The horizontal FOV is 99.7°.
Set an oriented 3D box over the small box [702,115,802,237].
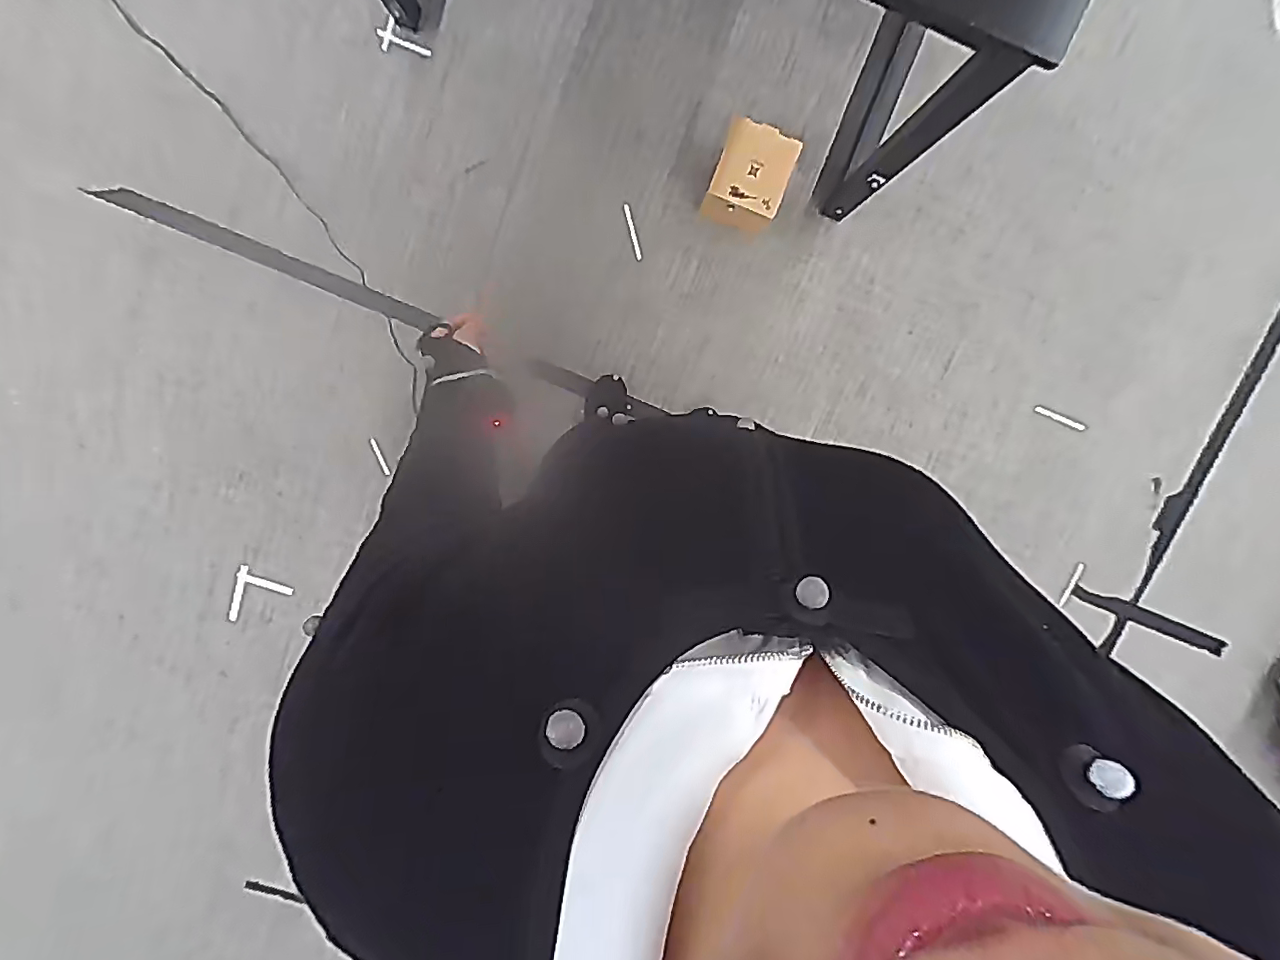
[{"bbox_3d":[0.258,-0.718,1.299,0.168,0.176,0.179,20,98,-3],"label":"small box"}]
